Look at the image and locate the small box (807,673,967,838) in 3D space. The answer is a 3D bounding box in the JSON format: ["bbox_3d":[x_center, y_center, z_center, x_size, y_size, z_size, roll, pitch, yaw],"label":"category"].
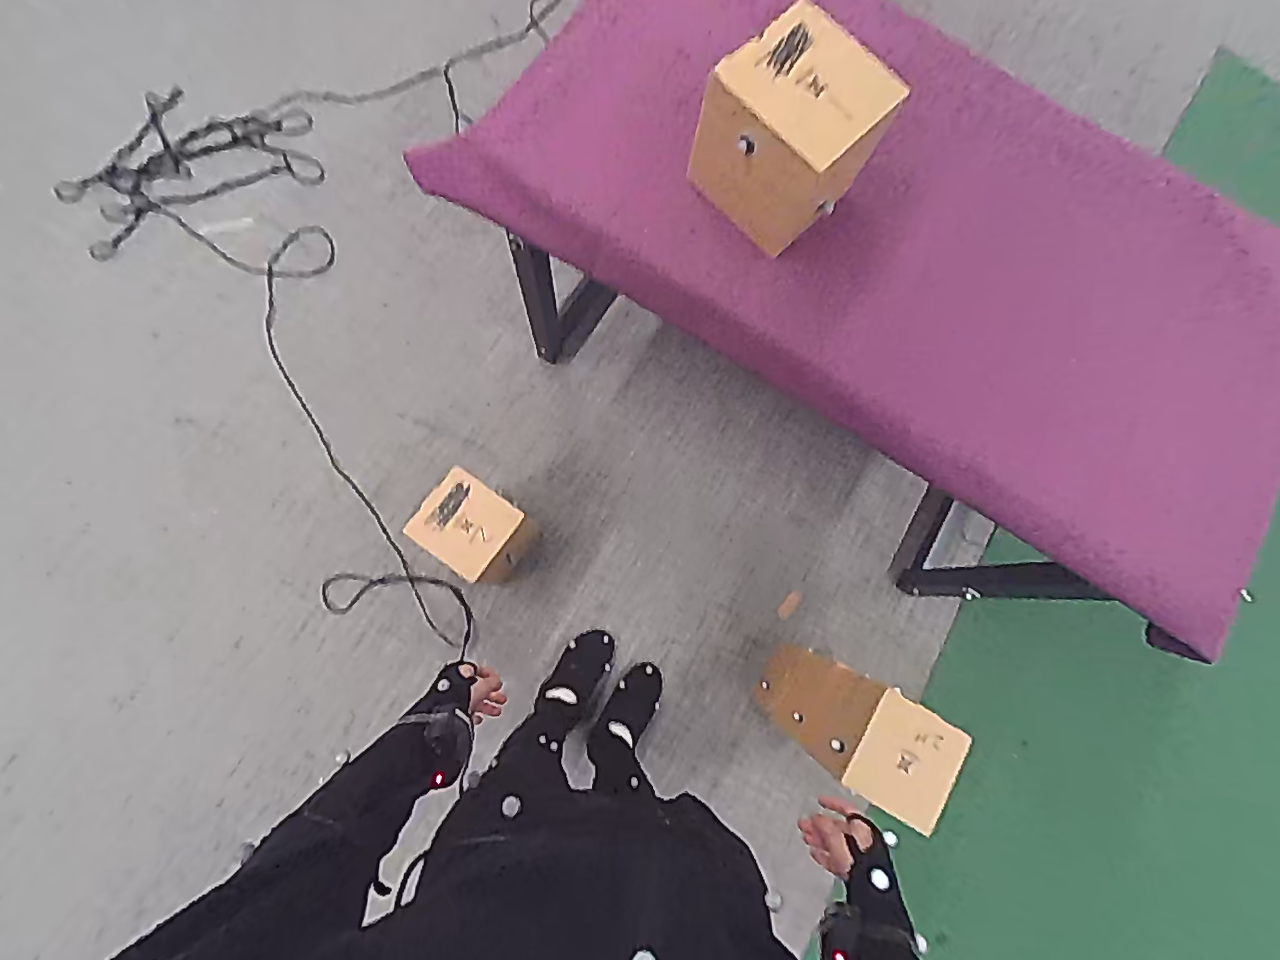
[{"bbox_3d":[0.419,0.469,0.952,0.168,0.176,0.179,32,79,1],"label":"small box"}]

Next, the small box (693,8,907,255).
[{"bbox_3d":[0.191,-0.436,0.703,0.168,0.176,0.179,-44,86,-11],"label":"small box"}]

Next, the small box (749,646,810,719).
[{"bbox_3d":[0.382,0.510,1.274,0.179,0.176,0.168,34,78,2],"label":"small box"}]

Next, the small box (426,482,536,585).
[{"bbox_3d":[-0.365,0.133,1.284,0.168,0.176,0.179,36,79,2],"label":"small box"}]

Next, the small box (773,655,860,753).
[{"bbox_3d":[0.399,0.484,1.116,0.168,0.176,0.179,31,79,1],"label":"small box"}]
